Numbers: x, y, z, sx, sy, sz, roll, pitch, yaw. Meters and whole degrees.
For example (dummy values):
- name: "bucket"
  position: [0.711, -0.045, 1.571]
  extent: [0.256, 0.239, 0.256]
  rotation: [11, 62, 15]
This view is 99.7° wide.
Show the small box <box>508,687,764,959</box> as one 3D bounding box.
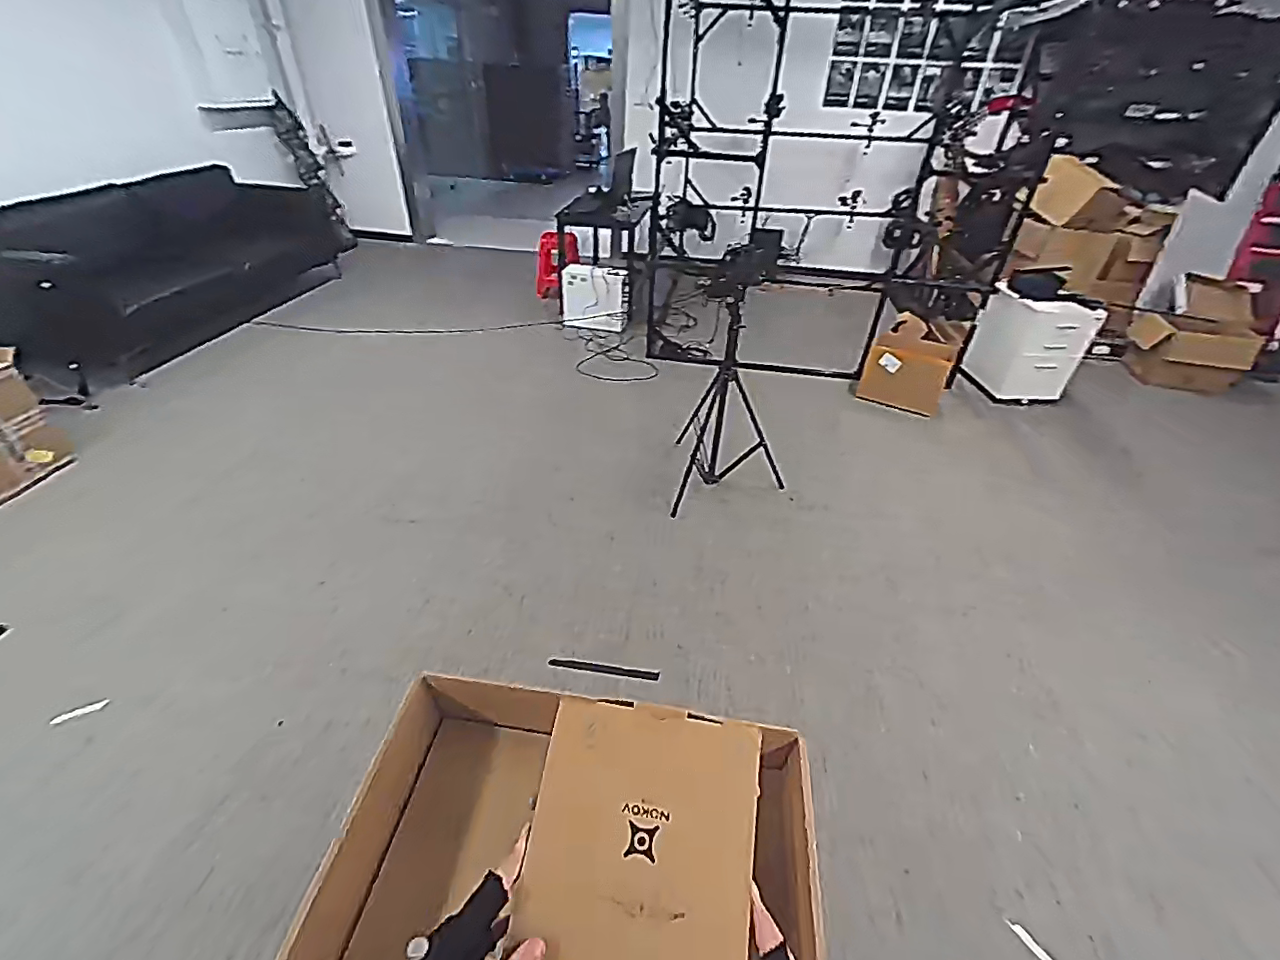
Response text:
- name: "small box"
  position: [0.004, 0.295, 0.465]
  extent: [0.168, 0.176, 0.179]
  rotation: [9, 62, 5]
